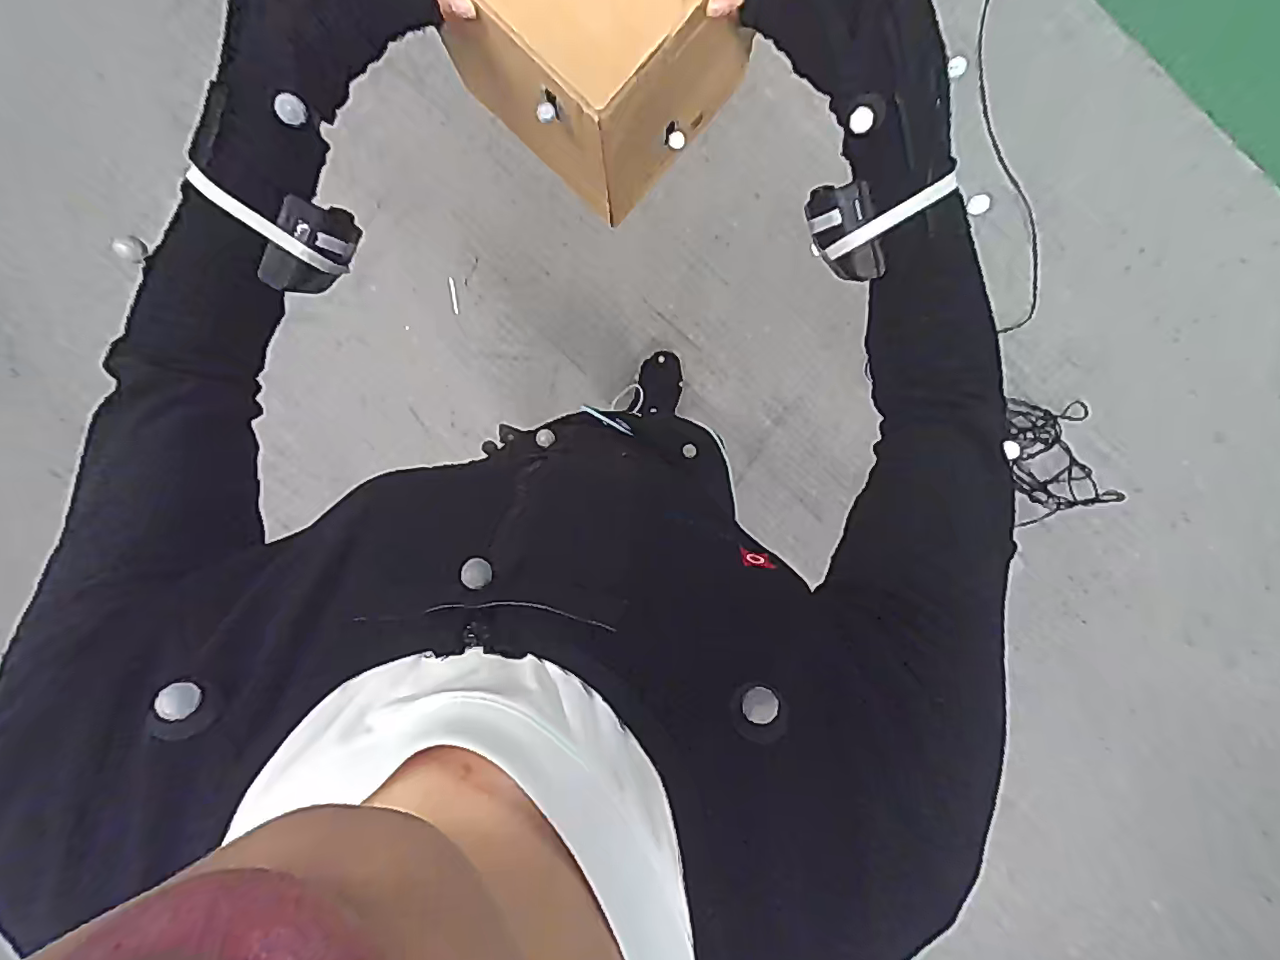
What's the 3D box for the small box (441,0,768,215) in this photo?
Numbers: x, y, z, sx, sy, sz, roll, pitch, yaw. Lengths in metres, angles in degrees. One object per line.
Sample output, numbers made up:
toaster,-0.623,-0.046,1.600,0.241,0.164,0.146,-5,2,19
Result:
small box,-0.028,-0.334,0.390,0.179,0.176,0.168,43,93,-4
